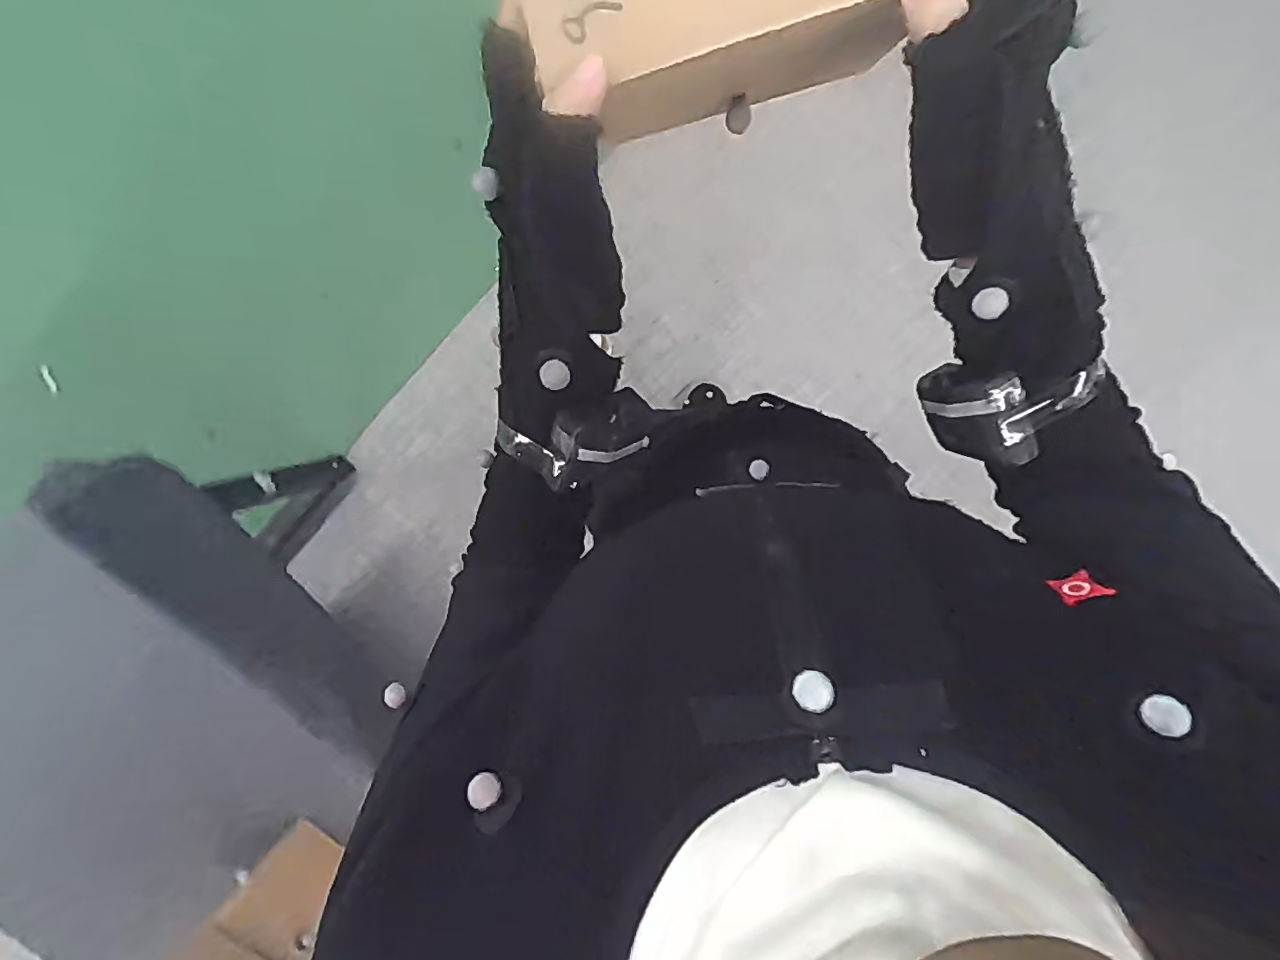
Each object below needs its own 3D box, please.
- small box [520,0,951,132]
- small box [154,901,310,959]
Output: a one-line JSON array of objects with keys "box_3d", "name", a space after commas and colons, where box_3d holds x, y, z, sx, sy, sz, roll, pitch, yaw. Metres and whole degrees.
[{"box_3d": [0.034, -0.283, 0.251, 0.179, 0.176, 0.168, -8, 115, 10], "name": "small box"}, {"box_3d": [-0.503, 0.625, 0.586, 0.168, 0.176, 0.179, 37, 99, -5], "name": "small box"}]
